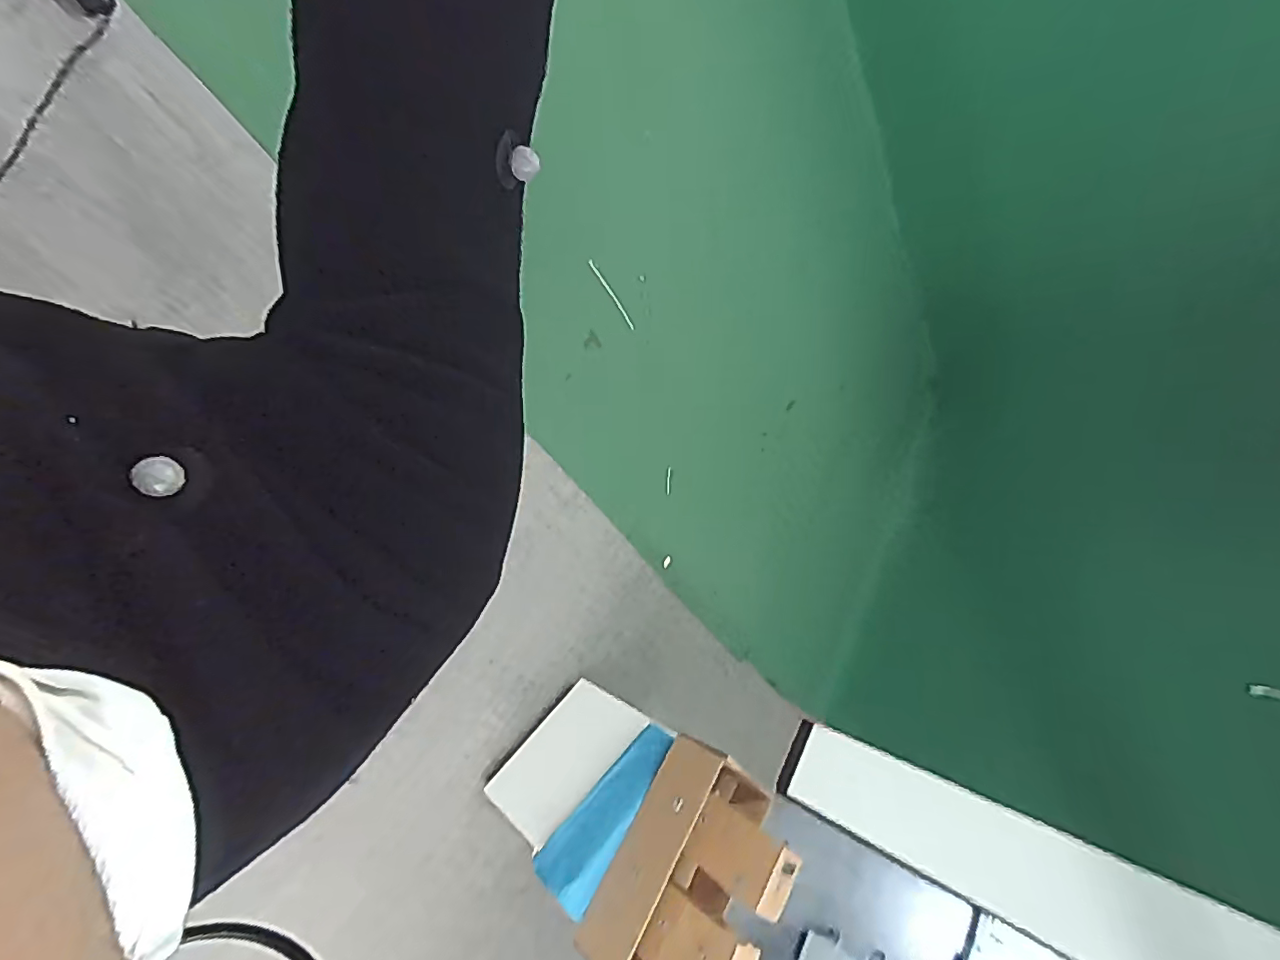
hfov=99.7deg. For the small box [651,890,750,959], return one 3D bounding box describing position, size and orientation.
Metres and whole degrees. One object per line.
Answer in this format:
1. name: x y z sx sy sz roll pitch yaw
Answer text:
1. small box: 0.157 1.233 1.429 0.168 0.176 0.179 52 60 -36
